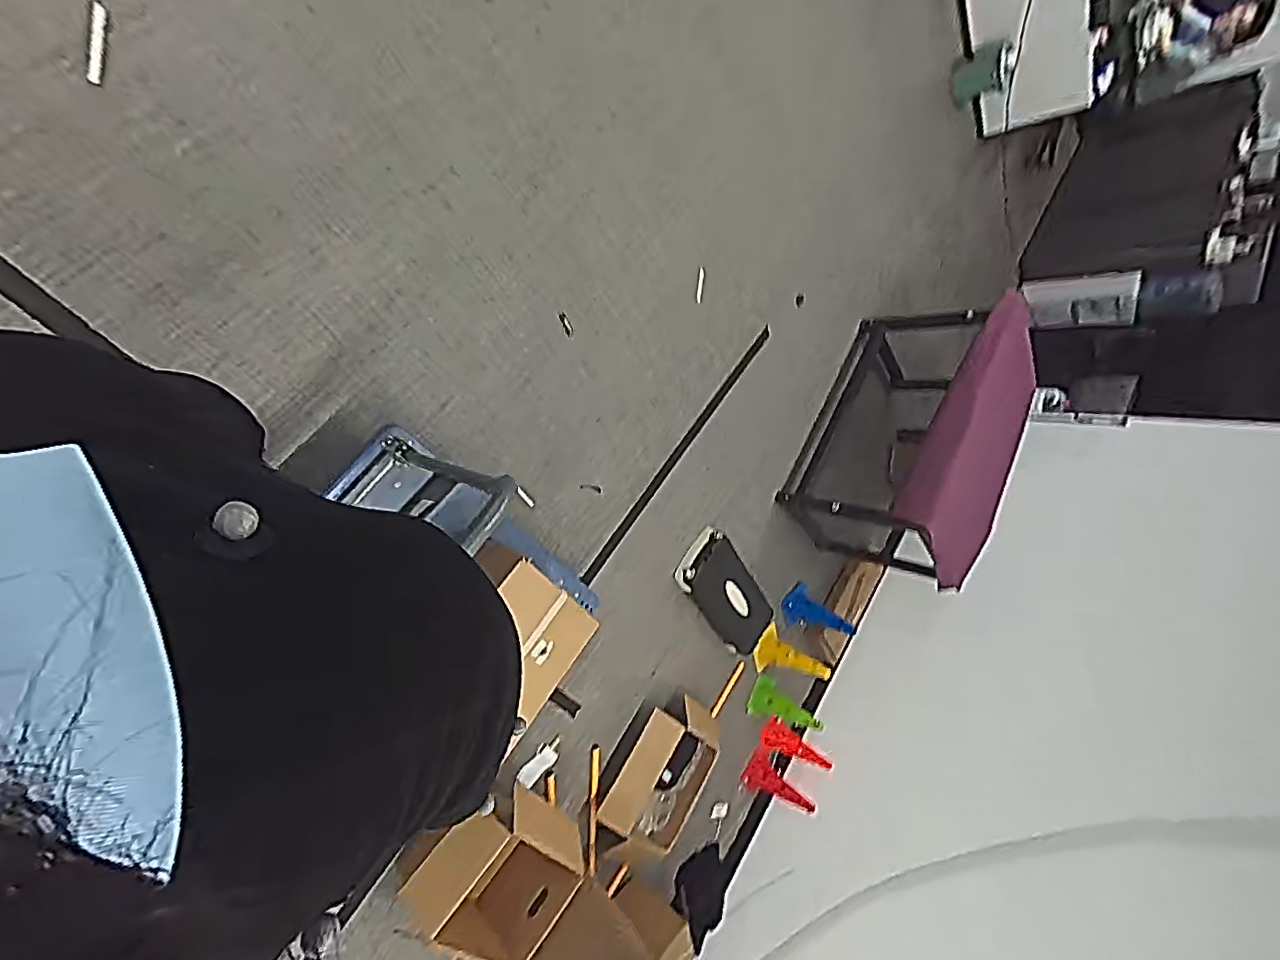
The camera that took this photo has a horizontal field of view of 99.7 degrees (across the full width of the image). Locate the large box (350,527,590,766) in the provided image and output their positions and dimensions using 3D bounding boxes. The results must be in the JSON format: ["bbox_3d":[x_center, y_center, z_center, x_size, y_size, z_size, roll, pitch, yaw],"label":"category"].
[{"bbox_3d":[-0.406,0.384,1.312,0.408,0.320,0.320,-54,130,-21],"label":"large box"}]
